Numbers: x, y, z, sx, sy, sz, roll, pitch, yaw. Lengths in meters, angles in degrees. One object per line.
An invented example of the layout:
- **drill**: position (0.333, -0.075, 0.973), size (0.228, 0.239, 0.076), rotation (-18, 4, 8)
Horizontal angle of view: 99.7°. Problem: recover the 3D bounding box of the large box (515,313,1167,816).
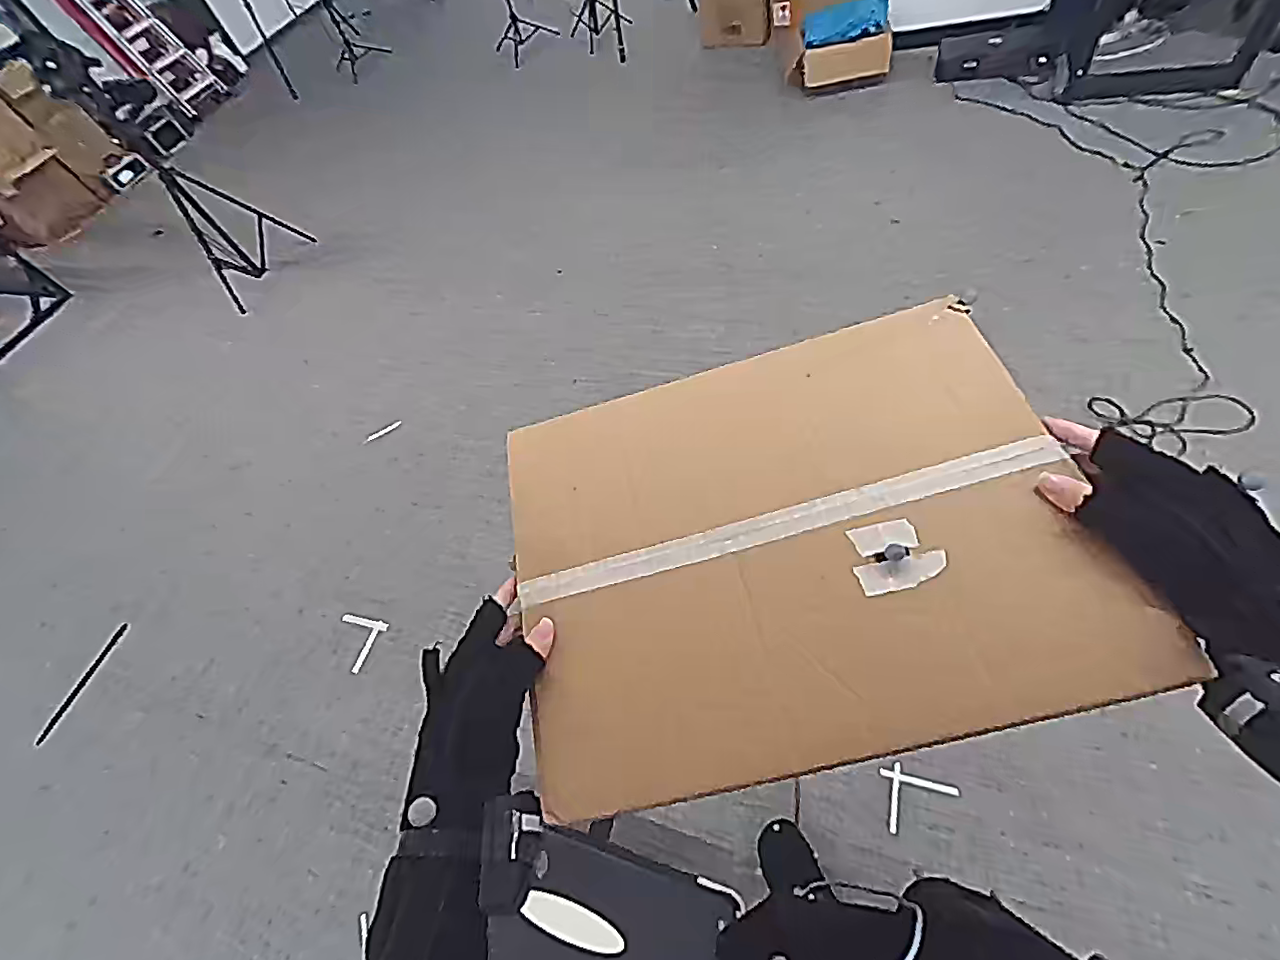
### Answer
- **large box**: position (0.133, 0.105, 0.544), size (0.408, 0.320, 0.320), rotation (-17, 61, 5)
